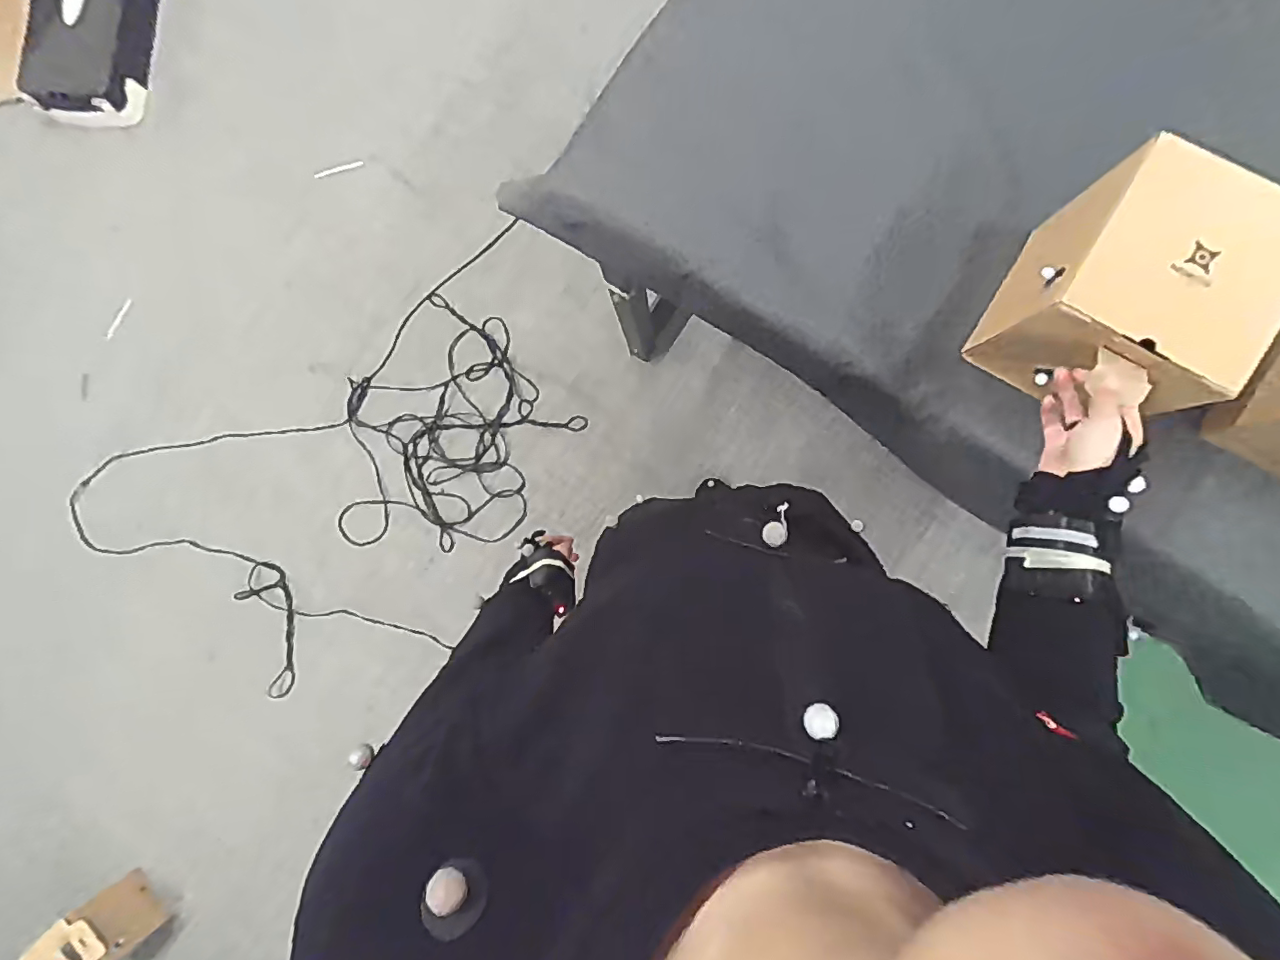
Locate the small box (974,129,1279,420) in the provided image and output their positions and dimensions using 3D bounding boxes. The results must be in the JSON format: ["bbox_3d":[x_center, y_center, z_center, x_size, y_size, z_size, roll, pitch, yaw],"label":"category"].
[{"bbox_3d":[0.474,-0.179,0.528,0.168,0.176,0.179,29,90,4],"label":"small box"}]

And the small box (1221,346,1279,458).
[{"bbox_3d":[0.726,-0.094,0.507,0.168,0.176,0.179,29,88,3],"label":"small box"}]
